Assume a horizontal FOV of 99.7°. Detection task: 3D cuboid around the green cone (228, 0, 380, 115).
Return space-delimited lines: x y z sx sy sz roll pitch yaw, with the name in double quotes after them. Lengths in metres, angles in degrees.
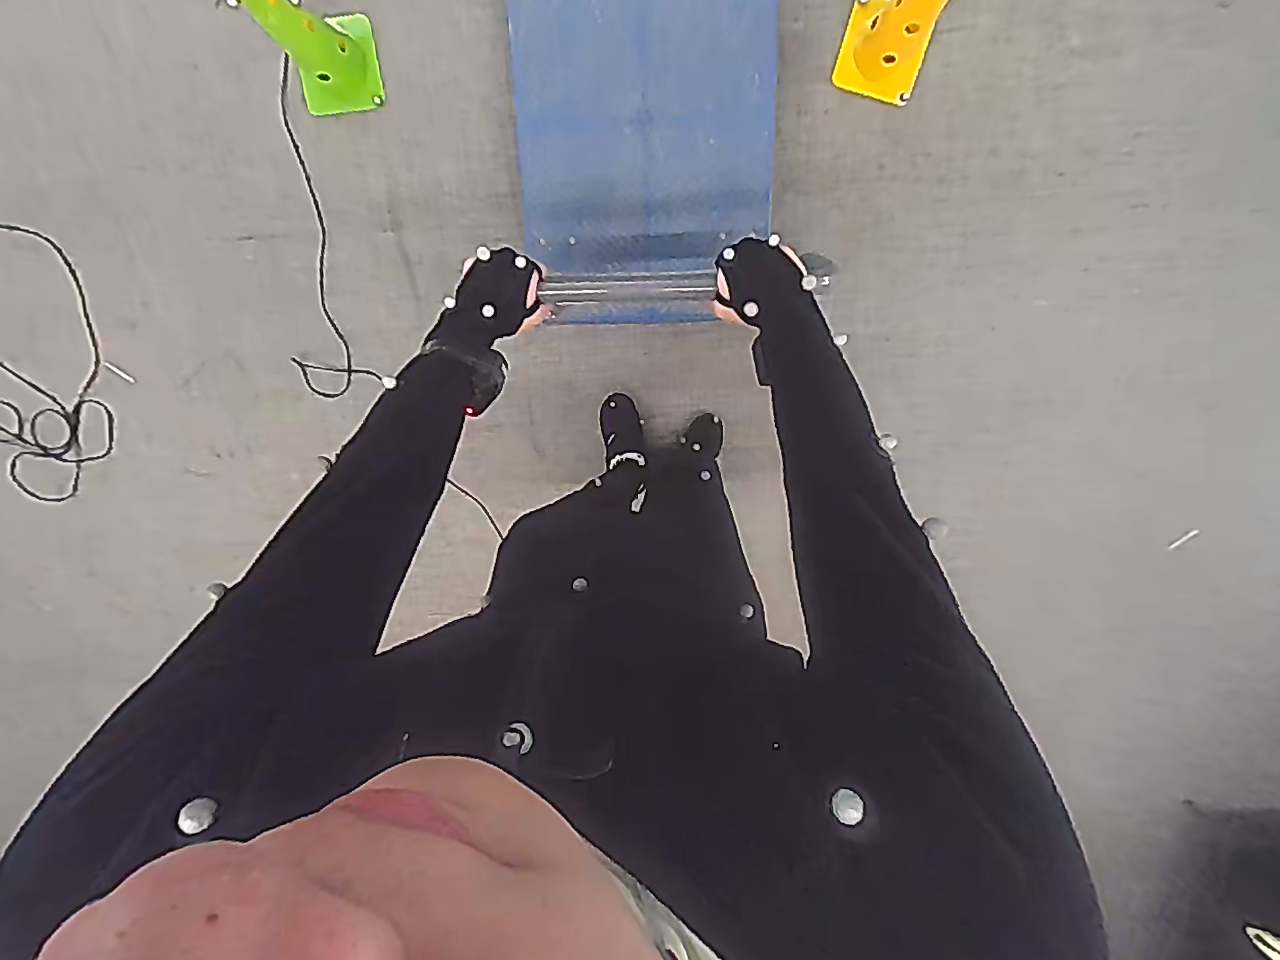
-0.759 -0.975 1.163 0.202 0.368 0.200 -5 105 5 "green cone"
